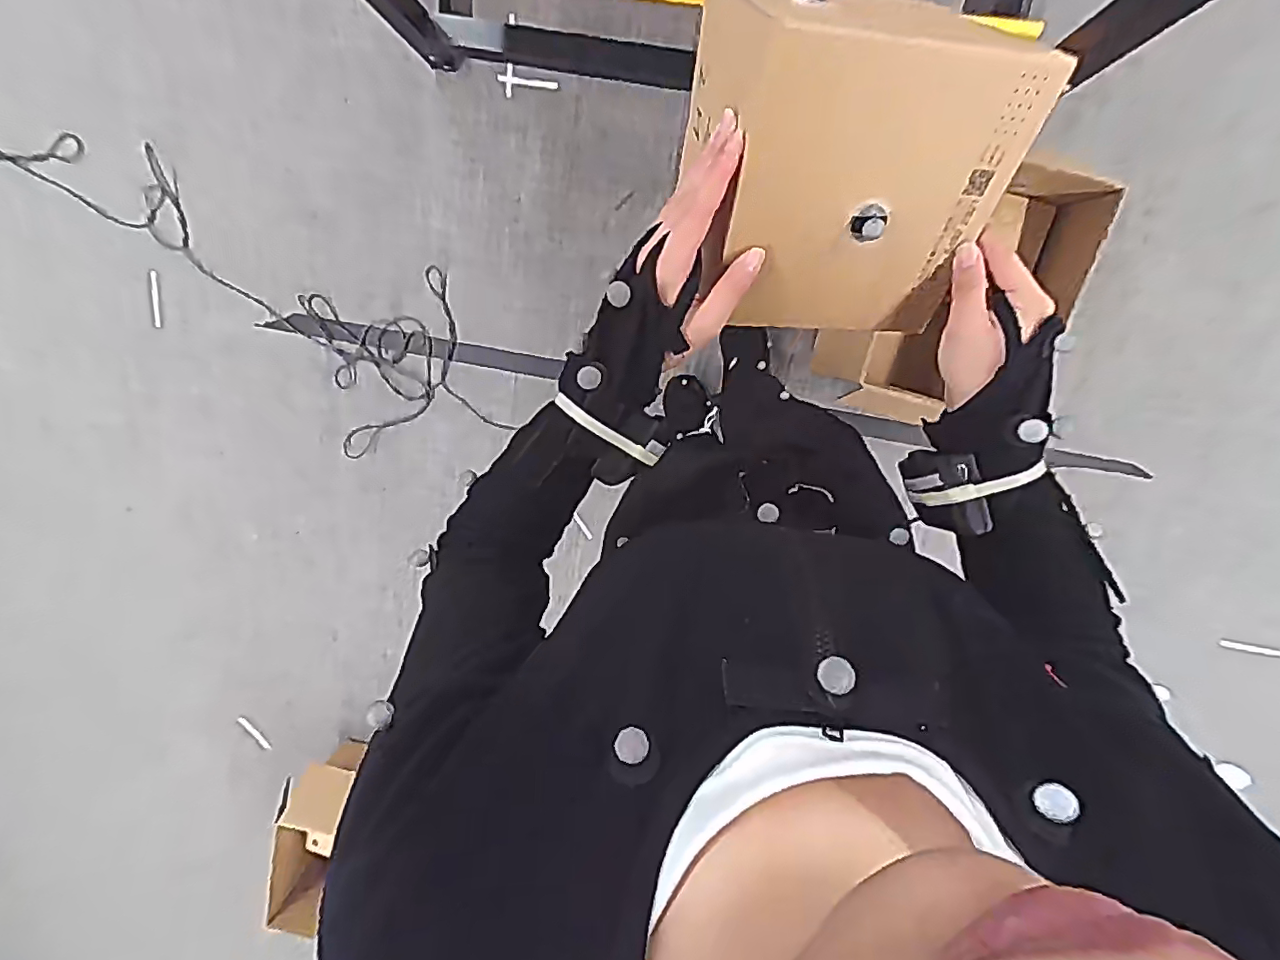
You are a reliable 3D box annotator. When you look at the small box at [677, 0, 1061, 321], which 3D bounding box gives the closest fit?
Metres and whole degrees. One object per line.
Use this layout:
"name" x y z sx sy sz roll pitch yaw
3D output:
"small box" 0.133 -0.230 0.383 0.176 0.179 0.168 0 138 -9
